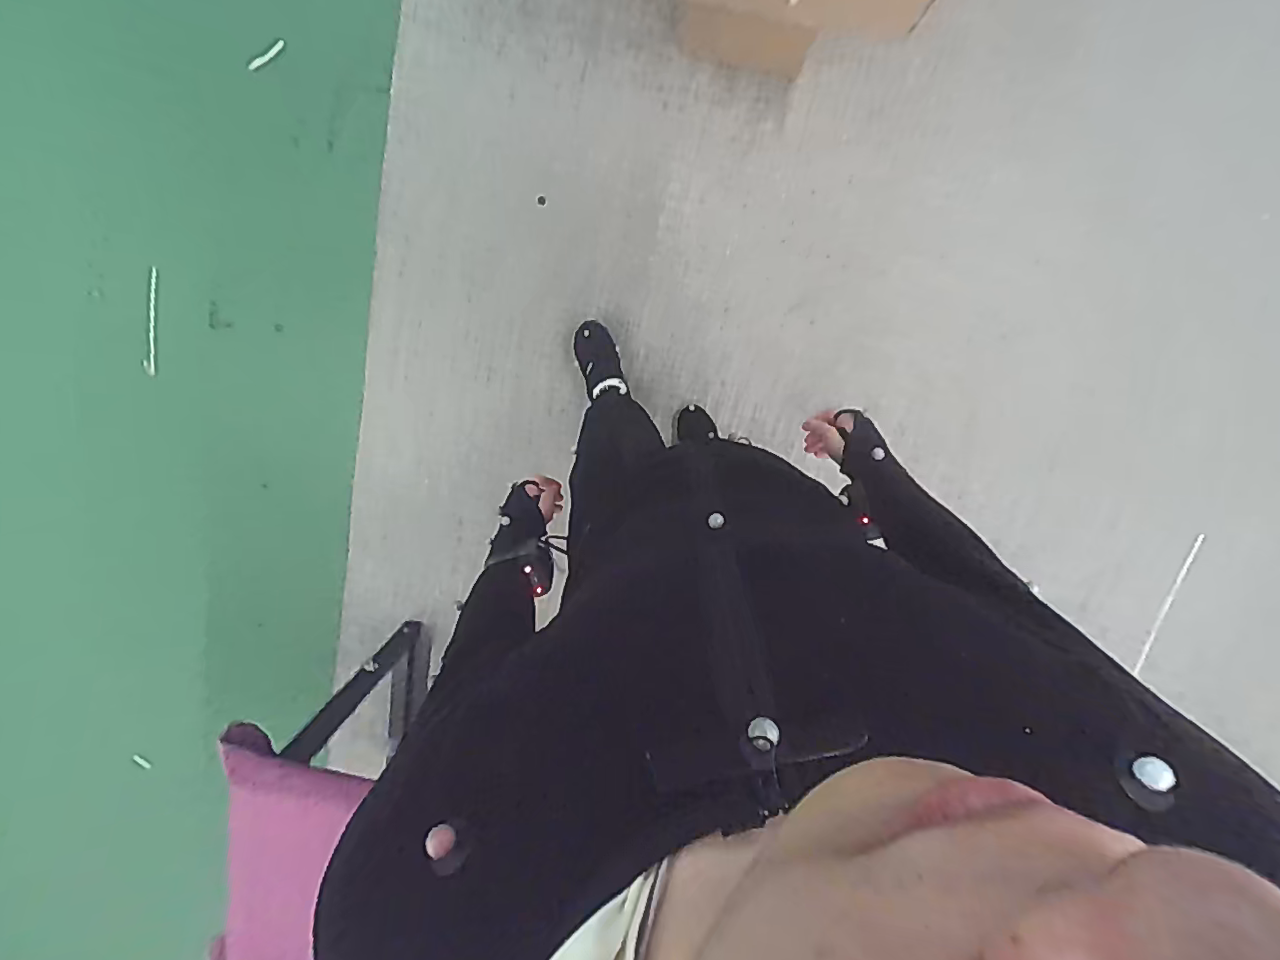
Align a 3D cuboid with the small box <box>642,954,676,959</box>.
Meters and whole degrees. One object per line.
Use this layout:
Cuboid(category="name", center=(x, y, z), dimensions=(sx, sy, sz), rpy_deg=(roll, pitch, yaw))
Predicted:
Cuboid(category="small box", center=(0.065, 1.078, 1.041), dimensions=(0.168, 0.176, 0.179), rpy_deg=(12, 104, -1))
